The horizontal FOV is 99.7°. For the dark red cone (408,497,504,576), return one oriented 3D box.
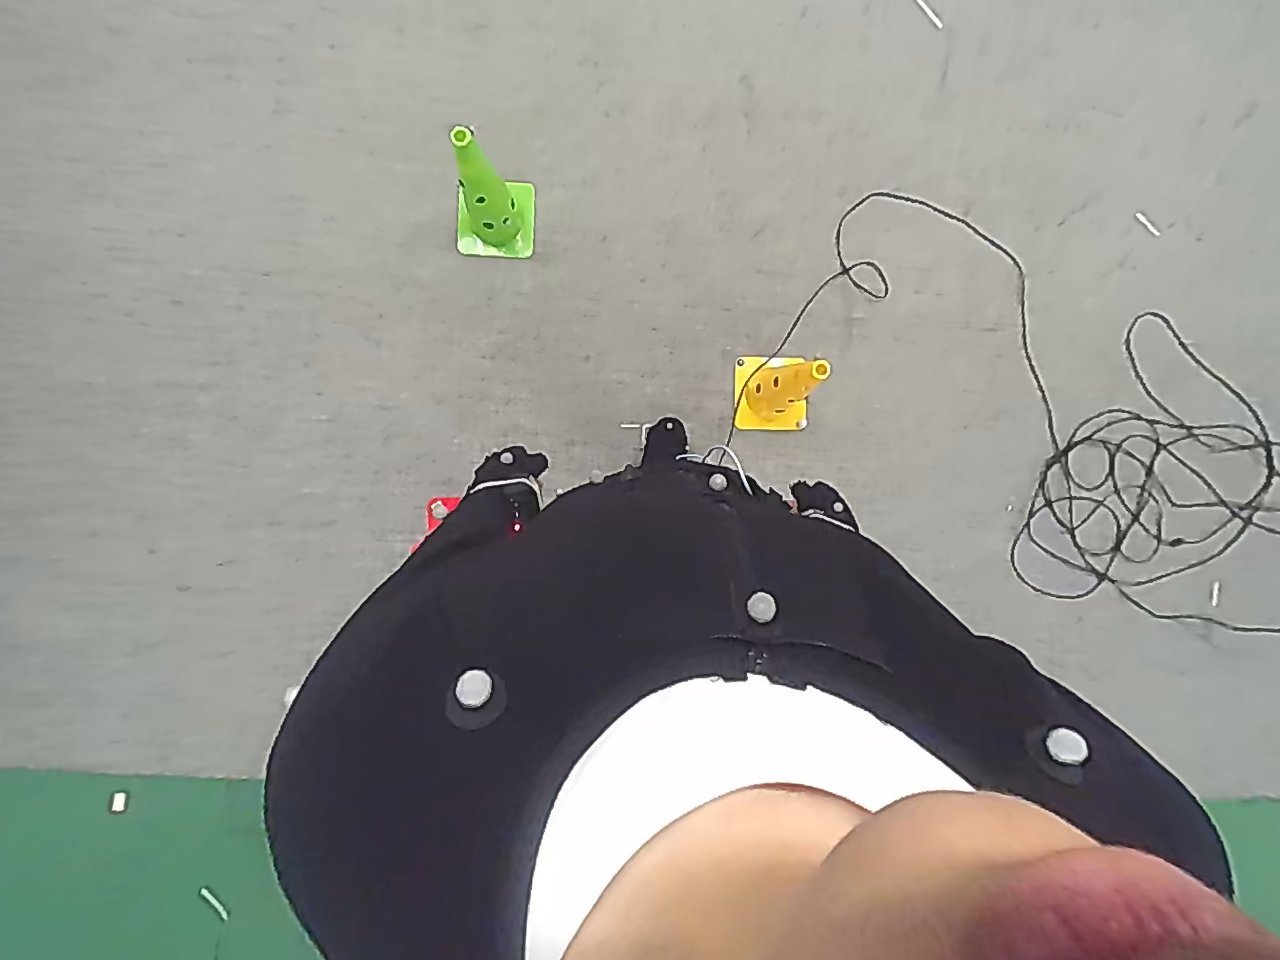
[{"bbox_3d":[-0.451,0.153,1.252,0.202,0.394,0.201,-2,92,-3],"label":"dark red cone"}]

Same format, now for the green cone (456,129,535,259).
[{"bbox_3d":[-0.370,-0.690,1.270,0.202,0.368,0.200,2,91,-5],"label":"green cone"}]
